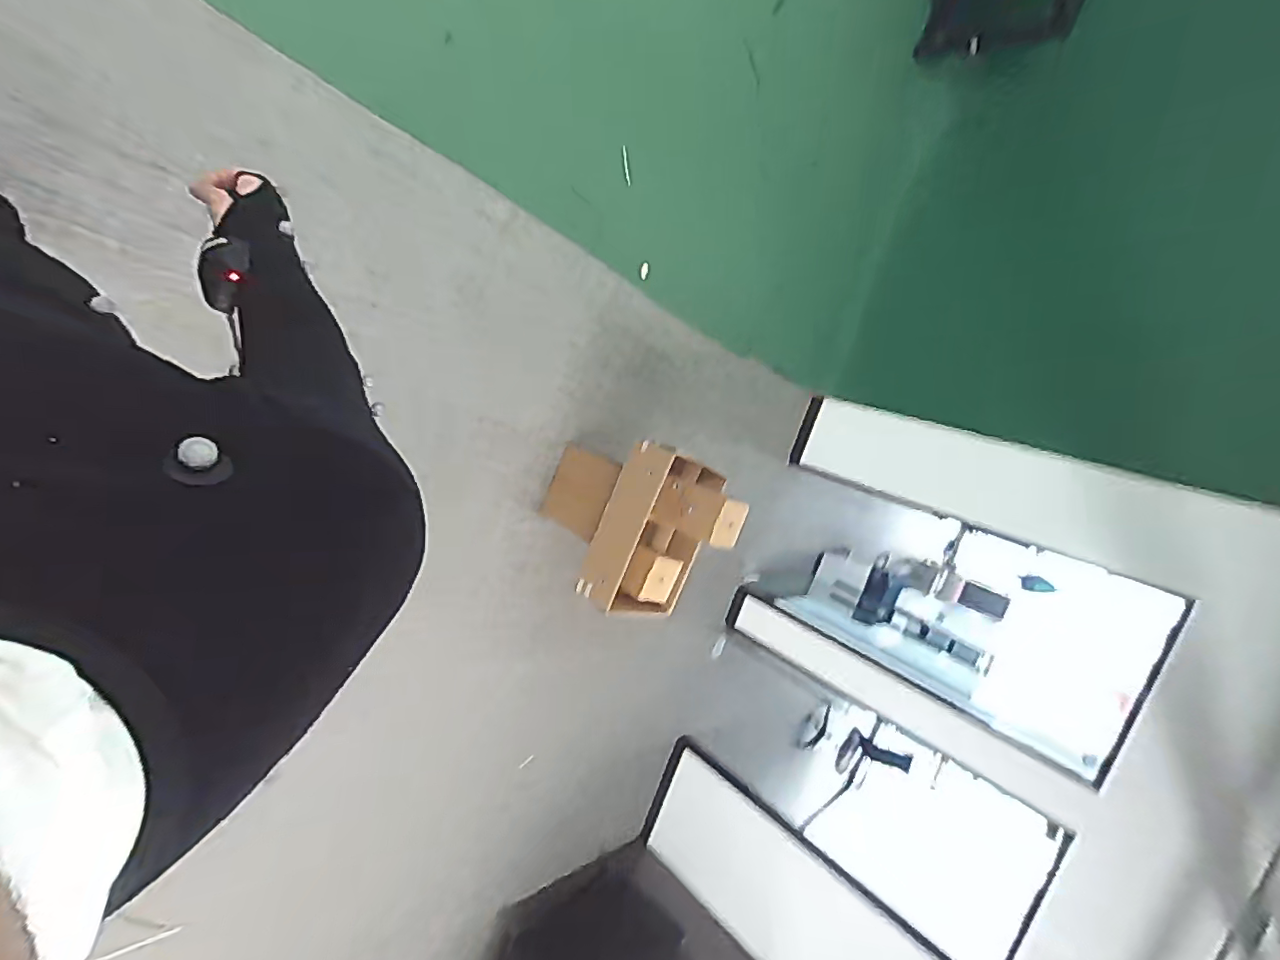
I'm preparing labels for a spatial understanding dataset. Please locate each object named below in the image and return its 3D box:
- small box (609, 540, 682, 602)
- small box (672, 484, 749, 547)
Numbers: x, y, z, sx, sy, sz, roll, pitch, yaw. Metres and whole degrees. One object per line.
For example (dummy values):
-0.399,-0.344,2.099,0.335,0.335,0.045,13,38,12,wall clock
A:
0.020,0.337,2.008,0.179,0.176,0.168,22,92,-50,small box
0.245,0.123,1.888,0.179,0.176,0.168,16,96,-51,small box
